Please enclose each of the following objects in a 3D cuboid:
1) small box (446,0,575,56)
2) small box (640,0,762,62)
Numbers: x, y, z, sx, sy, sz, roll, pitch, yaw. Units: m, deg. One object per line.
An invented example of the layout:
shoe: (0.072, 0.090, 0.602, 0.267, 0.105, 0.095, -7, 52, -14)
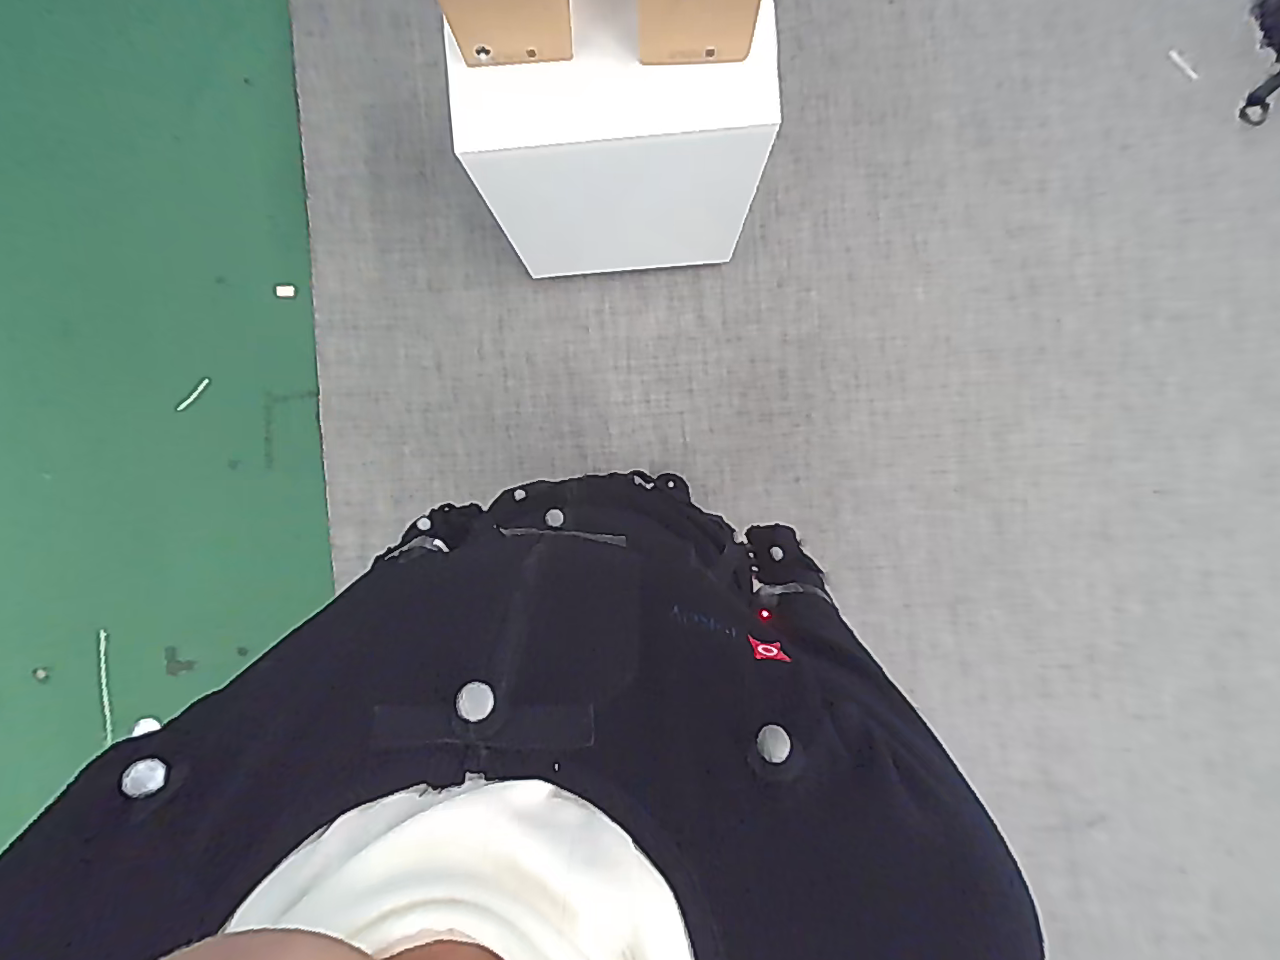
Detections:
small box: (-0.186, -0.733, 0.754, 0.168, 0.176, 0.179, -3, 91, 1)
small box: (0.083, -0.727, 0.746, 0.168, 0.176, 0.179, 0, 91, 3)
